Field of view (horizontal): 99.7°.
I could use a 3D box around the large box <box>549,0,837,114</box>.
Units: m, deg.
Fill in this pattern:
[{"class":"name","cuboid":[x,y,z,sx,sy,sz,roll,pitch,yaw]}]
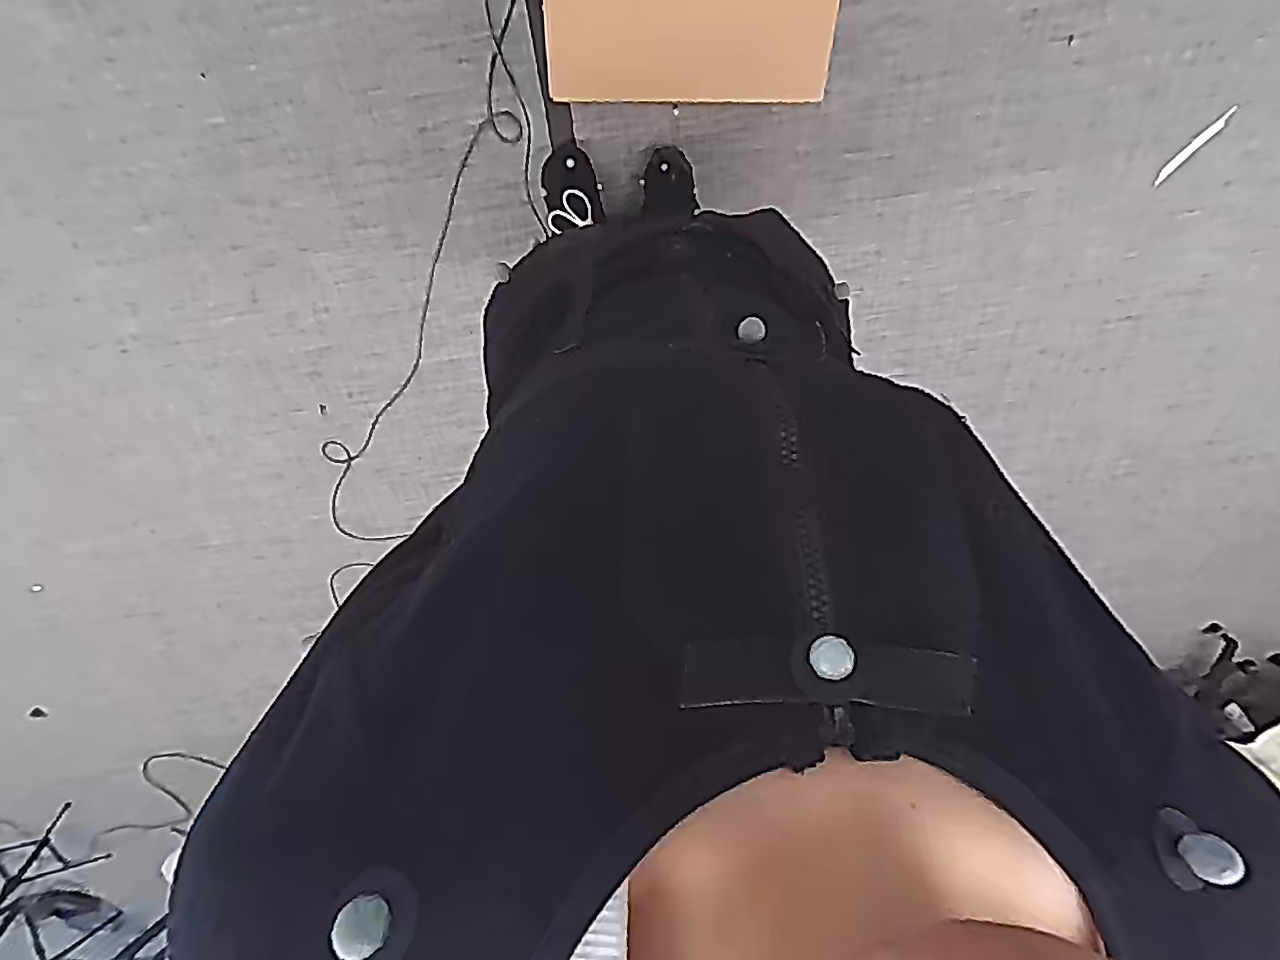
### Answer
[{"class":"large box","cuboid":[0.064,-0.761,0.841,0.408,0.320,0.320,-2,125,-4]}]
